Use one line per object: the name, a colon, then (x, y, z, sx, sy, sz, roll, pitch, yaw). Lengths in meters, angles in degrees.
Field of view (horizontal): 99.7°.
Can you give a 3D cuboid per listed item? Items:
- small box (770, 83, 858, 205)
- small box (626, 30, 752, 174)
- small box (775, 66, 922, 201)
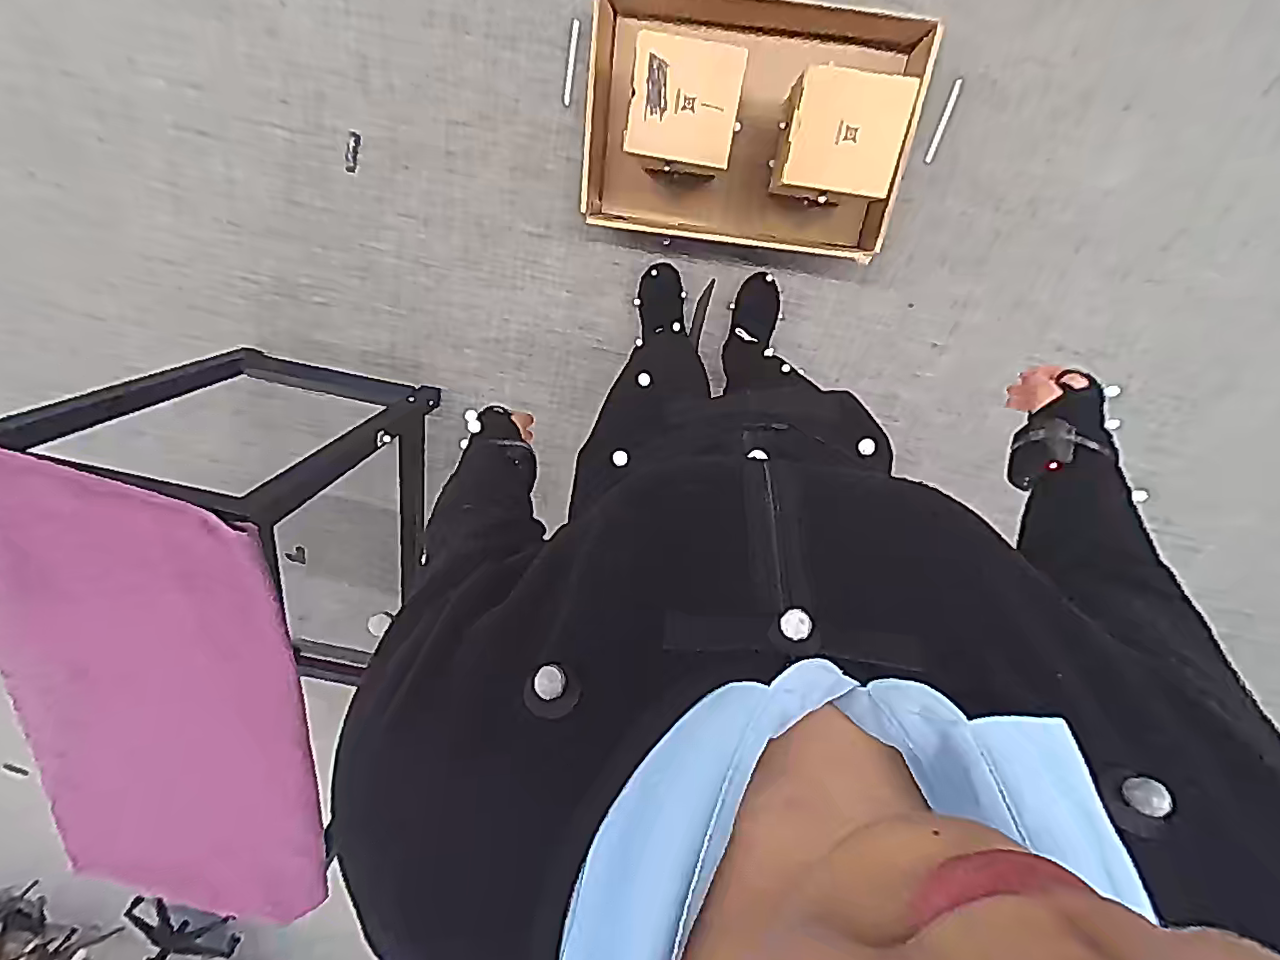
small box: (0.363, -0.655, 1.076, 0.168, 0.176, 0.179, 10, 115, 2)
small box: (0.080, -0.636, 0.933, 0.179, 0.176, 0.168, 10, 117, -1)
small box: (0.343, -0.584, 0.931, 0.179, 0.176, 0.168, 10, 117, 3)
